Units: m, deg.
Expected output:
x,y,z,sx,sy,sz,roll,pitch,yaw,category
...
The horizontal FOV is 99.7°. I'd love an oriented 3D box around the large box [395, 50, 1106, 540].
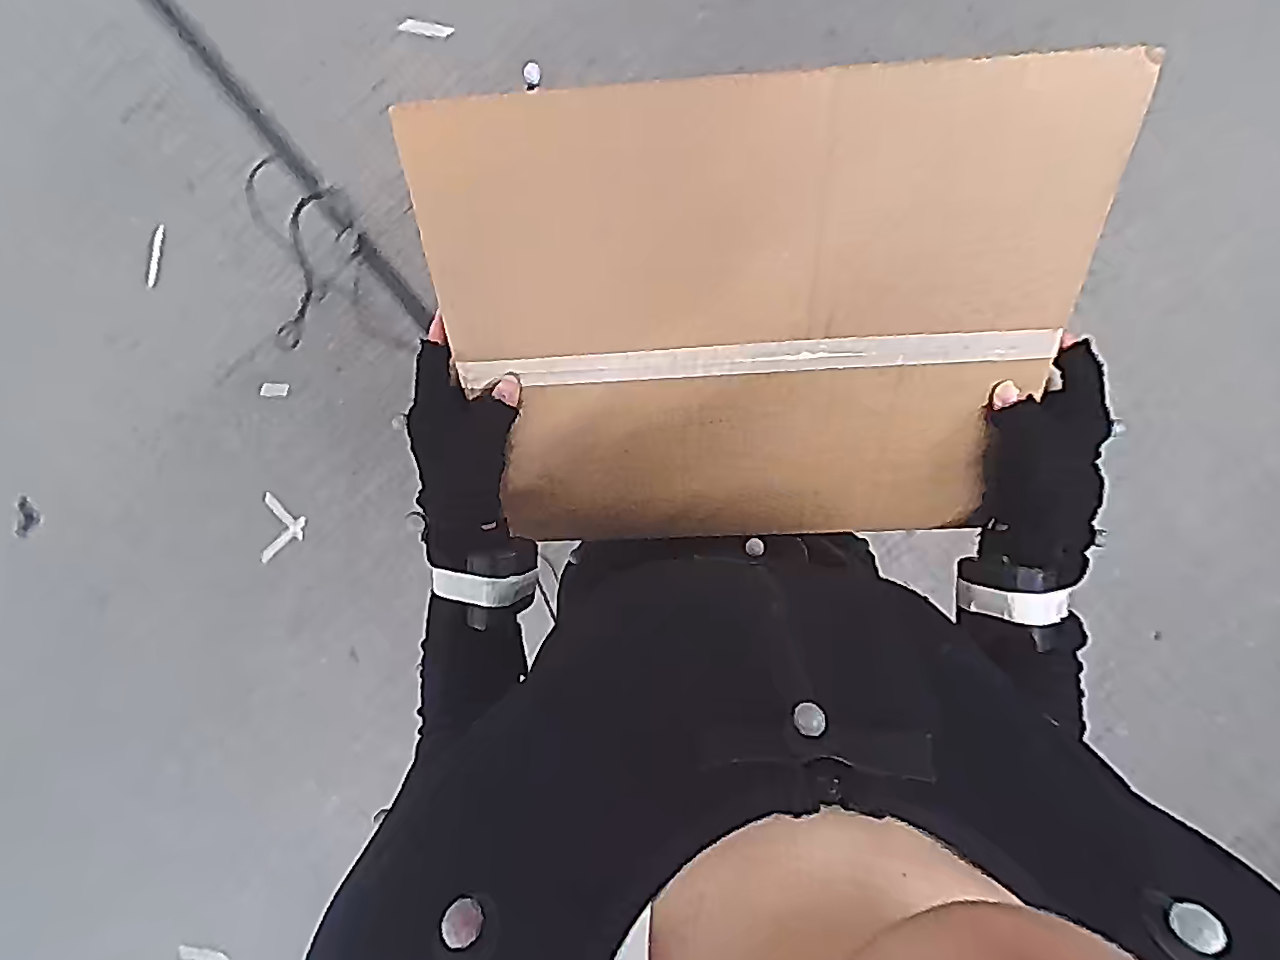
x,y,z,sx,sy,sz,roll,pitch,yaw,category
0.067,-0.169,0.505,0.408,0.320,0.320,-4,125,3,large box
